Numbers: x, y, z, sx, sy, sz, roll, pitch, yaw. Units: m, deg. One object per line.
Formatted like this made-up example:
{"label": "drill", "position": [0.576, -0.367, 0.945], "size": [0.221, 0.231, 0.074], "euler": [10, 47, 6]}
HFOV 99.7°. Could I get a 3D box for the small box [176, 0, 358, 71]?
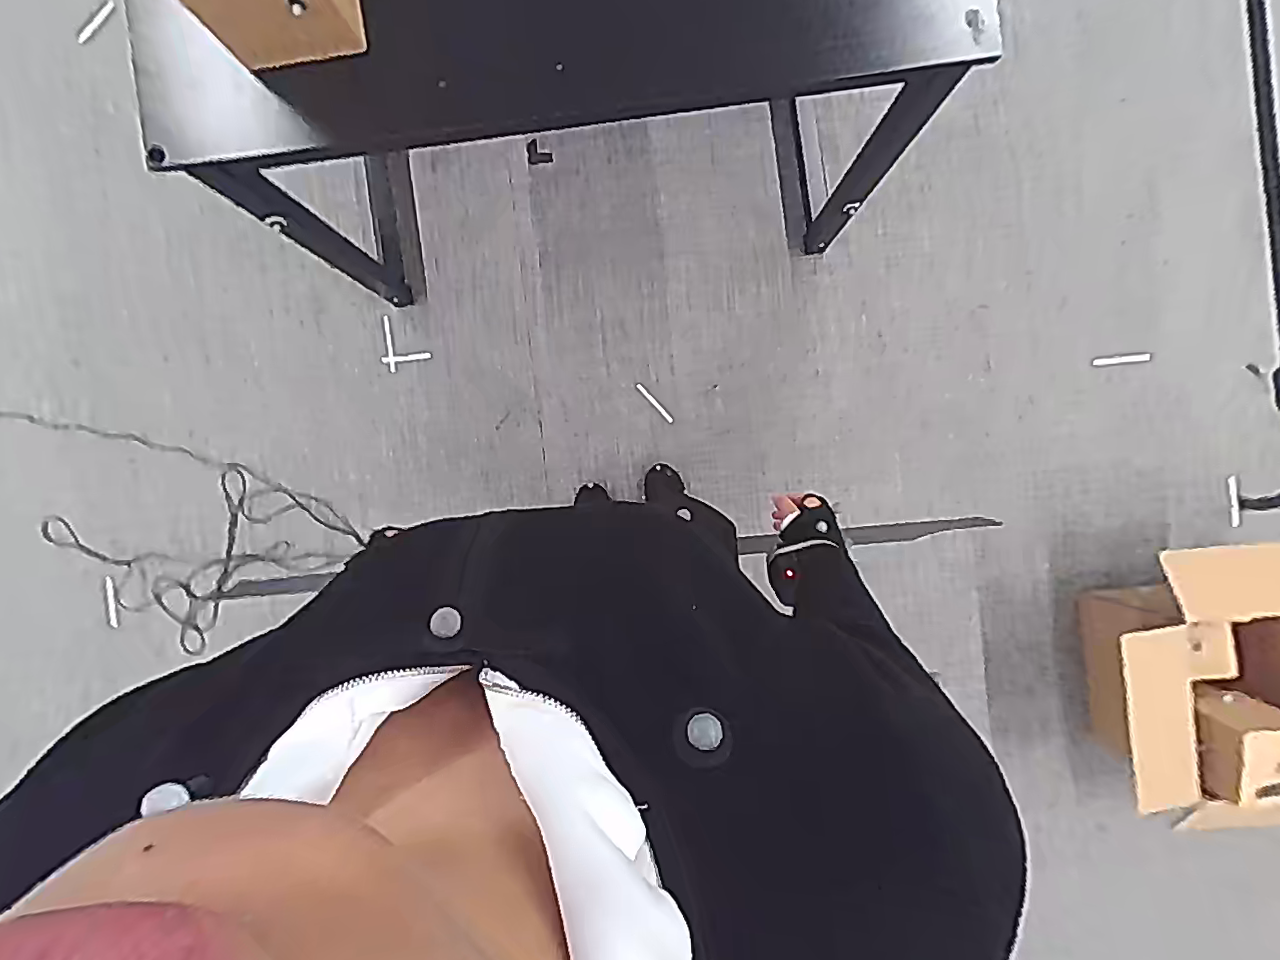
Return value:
{"label": "small box", "position": [-0.482, -0.666, 0.681], "size": [0.179, 0.176, 0.168], "euler": [-9, 90, 2]}
